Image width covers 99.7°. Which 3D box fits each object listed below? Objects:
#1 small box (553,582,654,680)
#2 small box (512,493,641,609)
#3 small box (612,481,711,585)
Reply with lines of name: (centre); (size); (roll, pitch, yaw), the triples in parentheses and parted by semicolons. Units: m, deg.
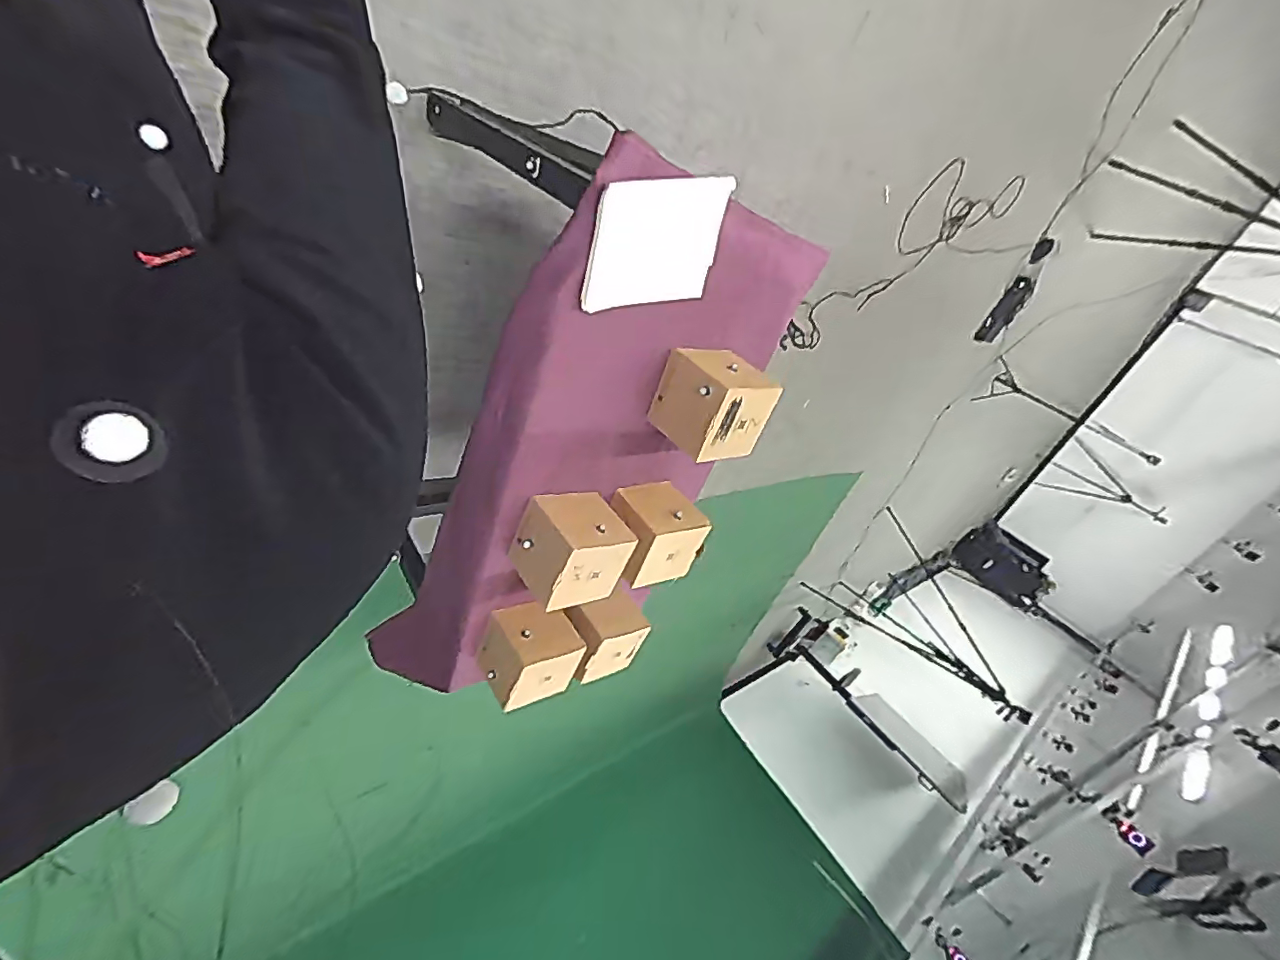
small box: (-0.103, 0.394, 1.439); (0.179, 0.176, 0.168); (1, 126, -45)
small box: (-0.137, 0.138, 1.133); (0.179, 0.176, 0.168); (-2, 127, -45)
small box: (0.030, 0.120, 1.288); (0.179, 0.176, 0.168); (-8, 132, -41)
